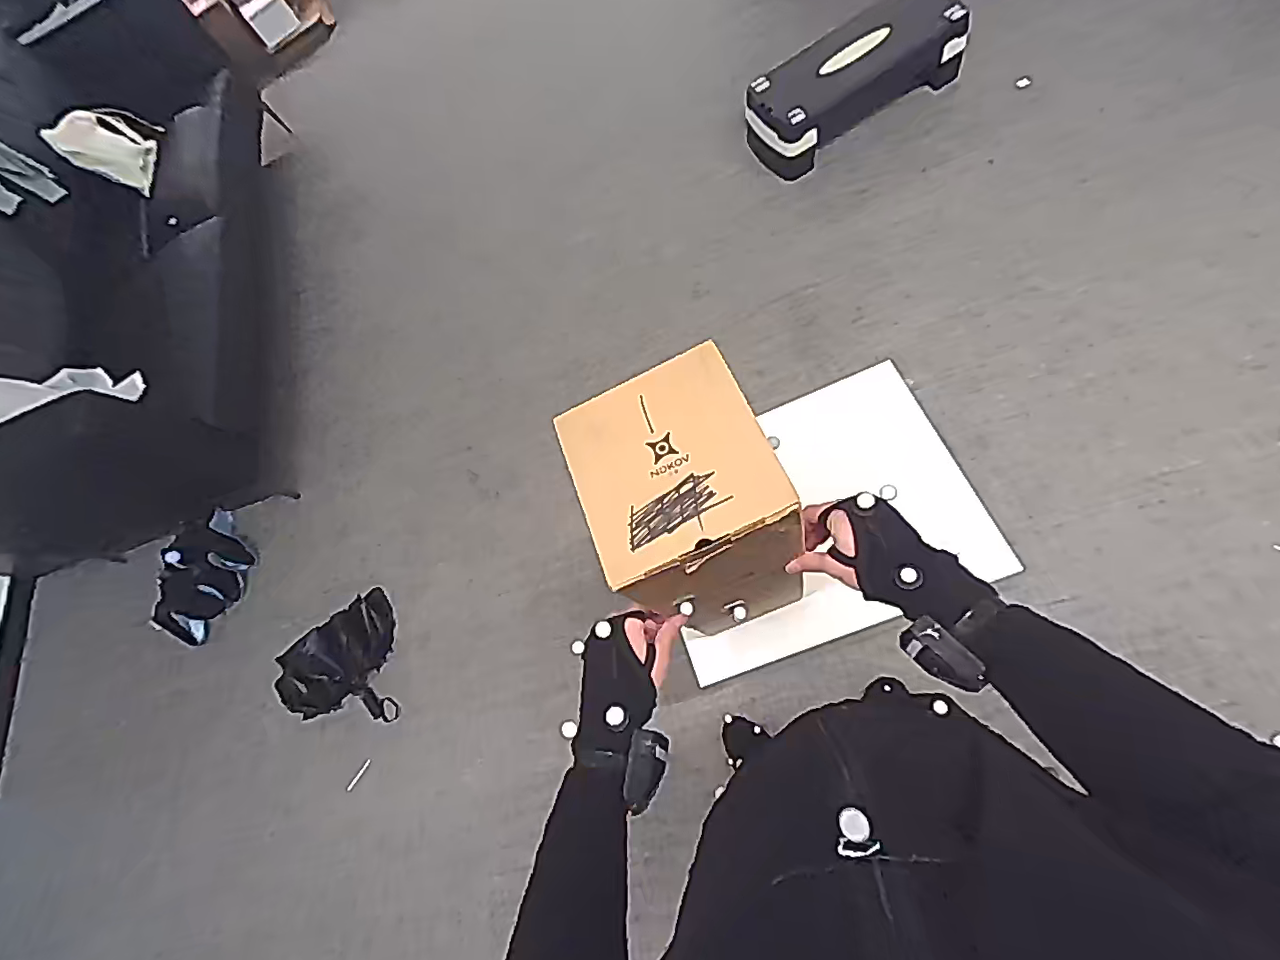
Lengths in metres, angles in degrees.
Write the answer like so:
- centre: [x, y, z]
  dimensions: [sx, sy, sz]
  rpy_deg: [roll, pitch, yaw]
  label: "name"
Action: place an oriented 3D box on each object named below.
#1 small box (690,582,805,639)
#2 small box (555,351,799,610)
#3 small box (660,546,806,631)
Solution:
- centre: [0.137, 0.126, 0.823]
  dimensions: [0.168, 0.176, 0.179]
  rpy_deg: [-24, 64, 7]
  label: "small box"
- centre: [0.044, 0.016, 0.528]
  dimensions: [0.168, 0.176, 0.179]
  rpy_deg: [-25, 63, 7]
  label: "small box"
- centre: [0.092, 0.072, 0.676]
  dimensions: [0.168, 0.176, 0.179]
  rpy_deg: [-27, 65, 7]
  label: "small box"
